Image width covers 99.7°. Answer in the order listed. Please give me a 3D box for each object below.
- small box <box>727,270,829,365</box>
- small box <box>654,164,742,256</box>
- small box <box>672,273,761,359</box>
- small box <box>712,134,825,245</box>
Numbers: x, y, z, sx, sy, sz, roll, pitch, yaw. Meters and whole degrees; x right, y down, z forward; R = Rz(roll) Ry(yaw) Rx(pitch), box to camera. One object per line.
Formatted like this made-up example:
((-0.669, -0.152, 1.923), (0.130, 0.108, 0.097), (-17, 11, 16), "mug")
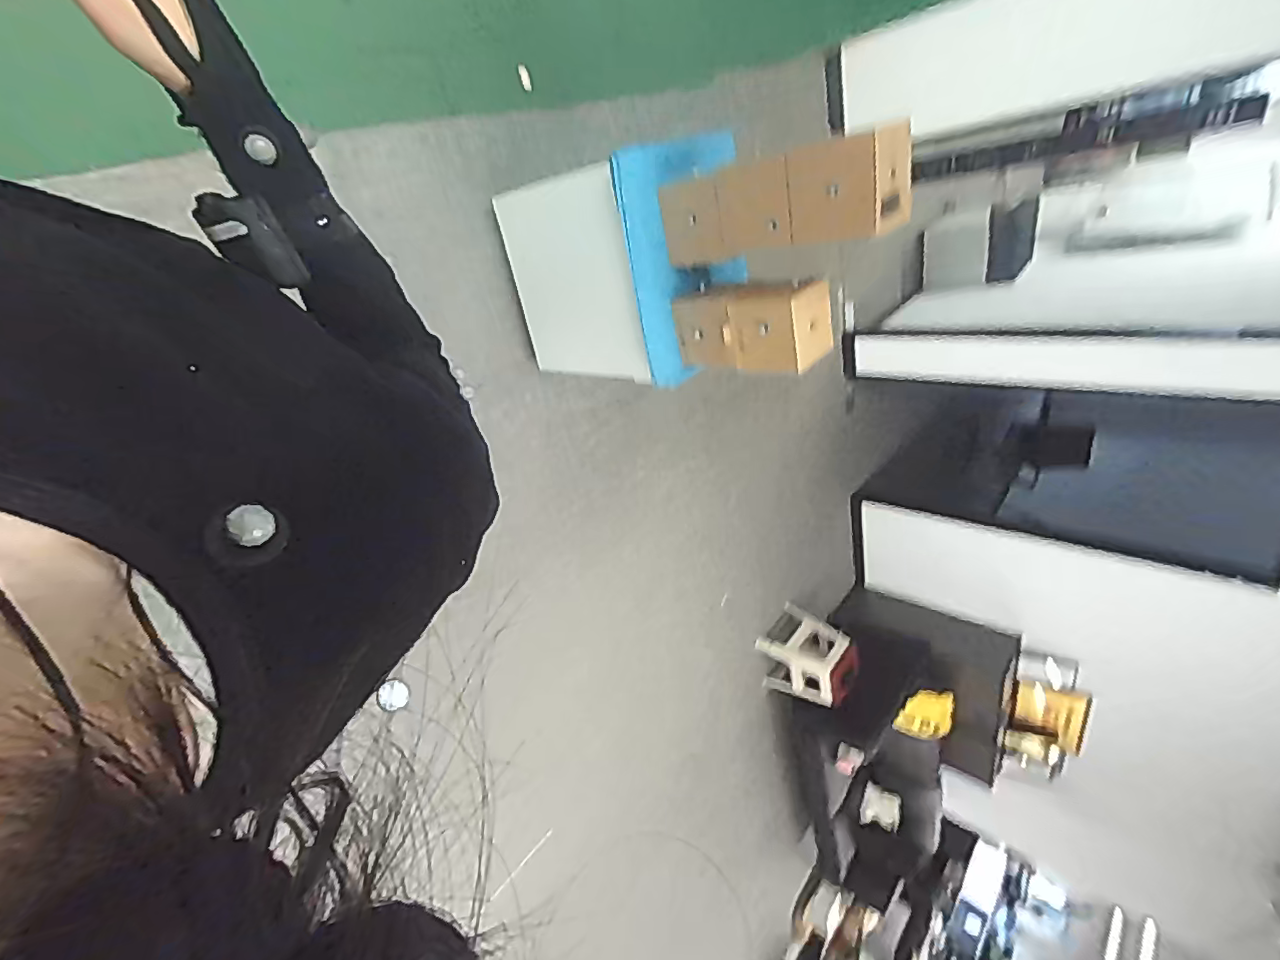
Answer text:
((0.315, -0.374, 1.253), (0.179, 0.176, 0.168), (-39, 127, -36), "small box")
((0.156, -0.627, 1.253), (0.168, 0.176, 0.179), (-37, 125, -36), "small box")
((0.194, -0.410, 1.357), (0.179, 0.176, 0.168), (-36, 125, -35), "small box")
((0.272, -0.604, 1.139), (0.168, 0.176, 0.179), (-37, 126, -36), "small box")
